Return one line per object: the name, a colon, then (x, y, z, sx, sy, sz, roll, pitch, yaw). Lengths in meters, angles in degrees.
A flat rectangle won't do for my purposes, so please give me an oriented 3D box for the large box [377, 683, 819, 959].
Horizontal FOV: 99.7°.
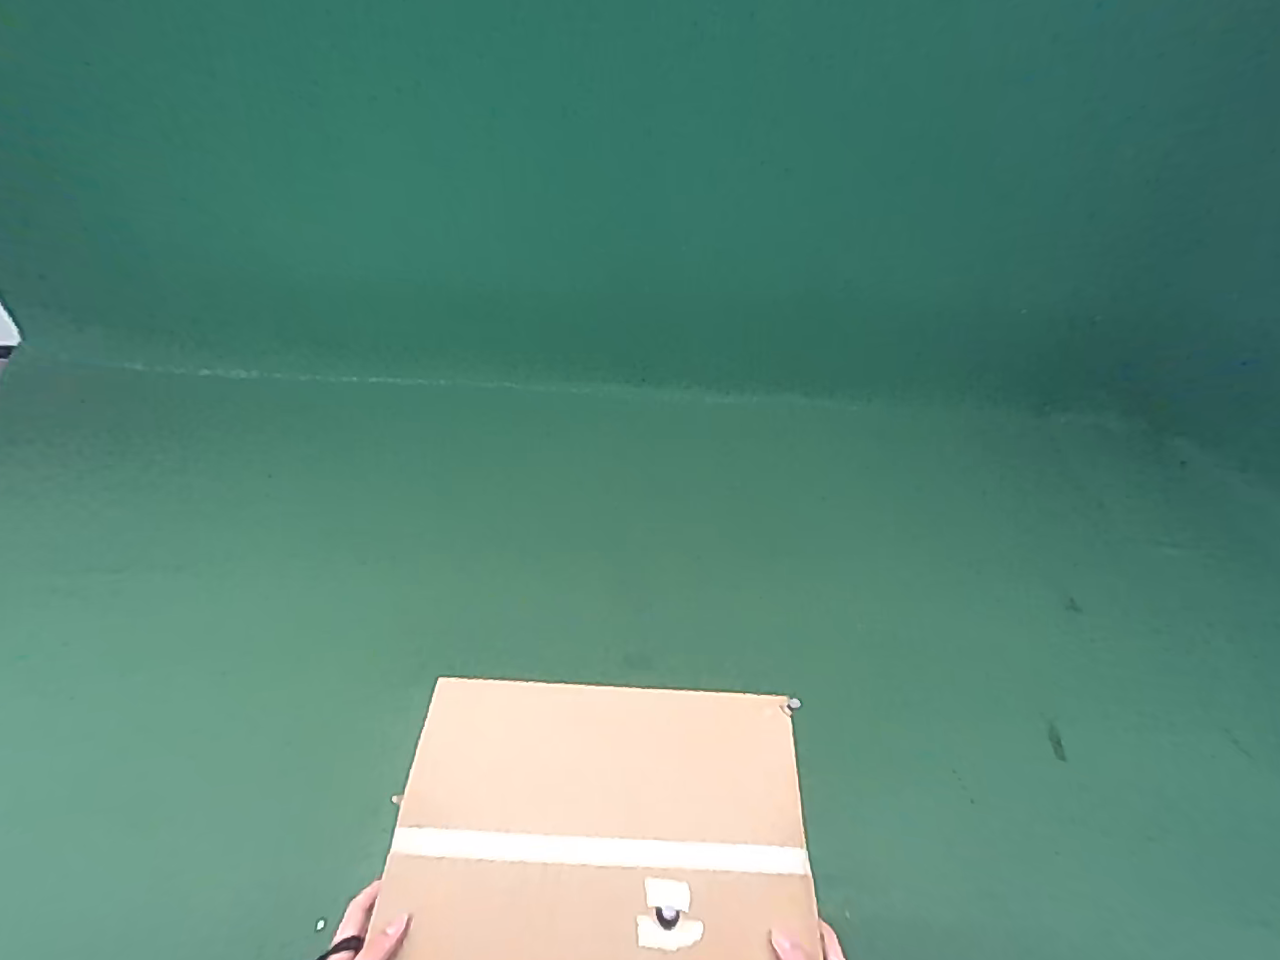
large box: (-0.040, 0.455, 0.650, 0.408, 0.320, 0.320, 3, 52, 0)
